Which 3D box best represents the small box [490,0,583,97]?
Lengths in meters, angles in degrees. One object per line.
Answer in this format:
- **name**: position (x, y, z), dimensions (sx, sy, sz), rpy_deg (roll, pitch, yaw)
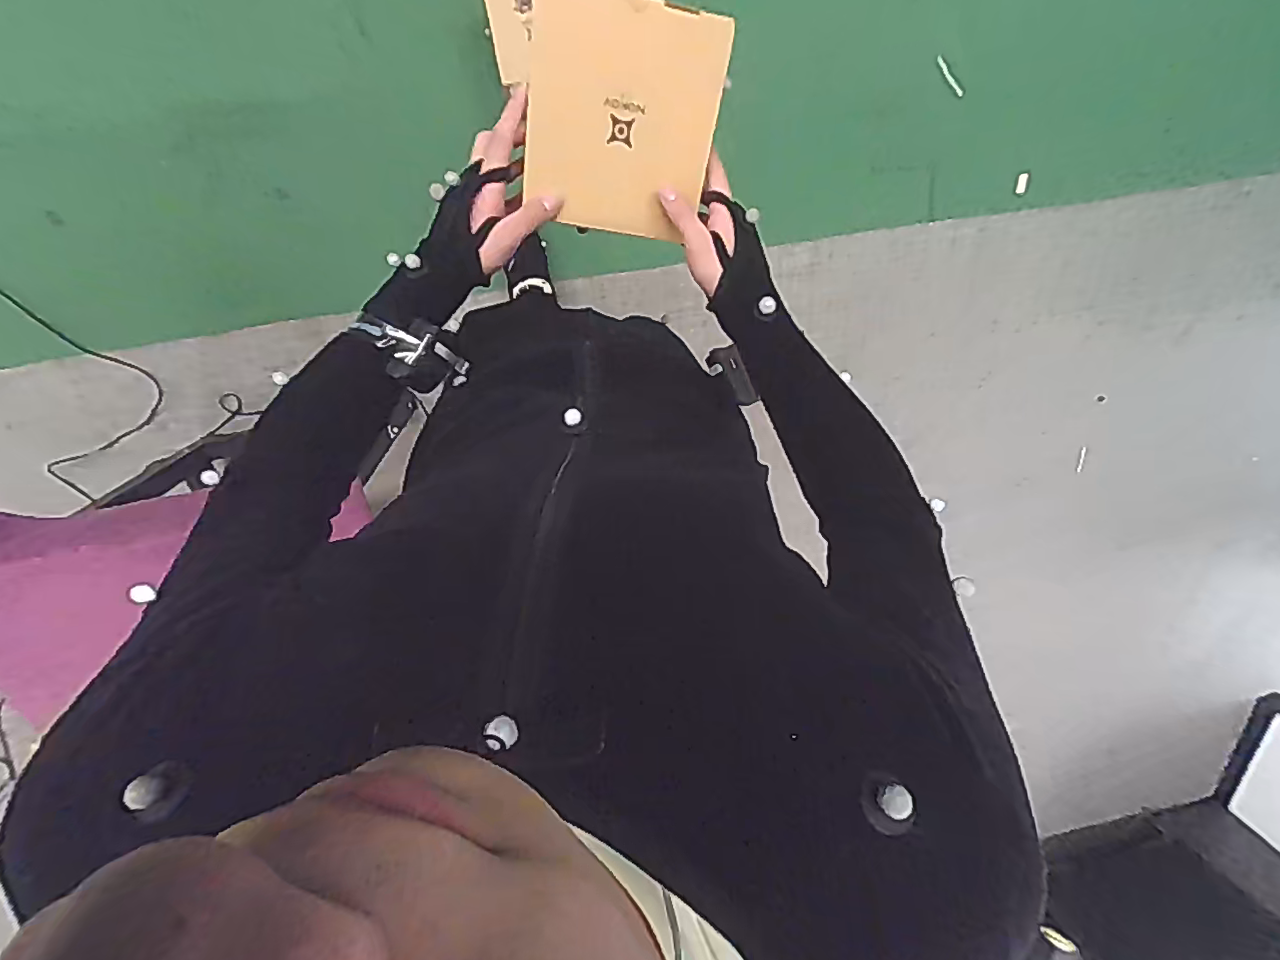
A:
- **small box**: position (-0.221, -0.948, 1.155), dimensions (0.168, 0.176, 0.179), rpy_deg (-11, 117, -4)
